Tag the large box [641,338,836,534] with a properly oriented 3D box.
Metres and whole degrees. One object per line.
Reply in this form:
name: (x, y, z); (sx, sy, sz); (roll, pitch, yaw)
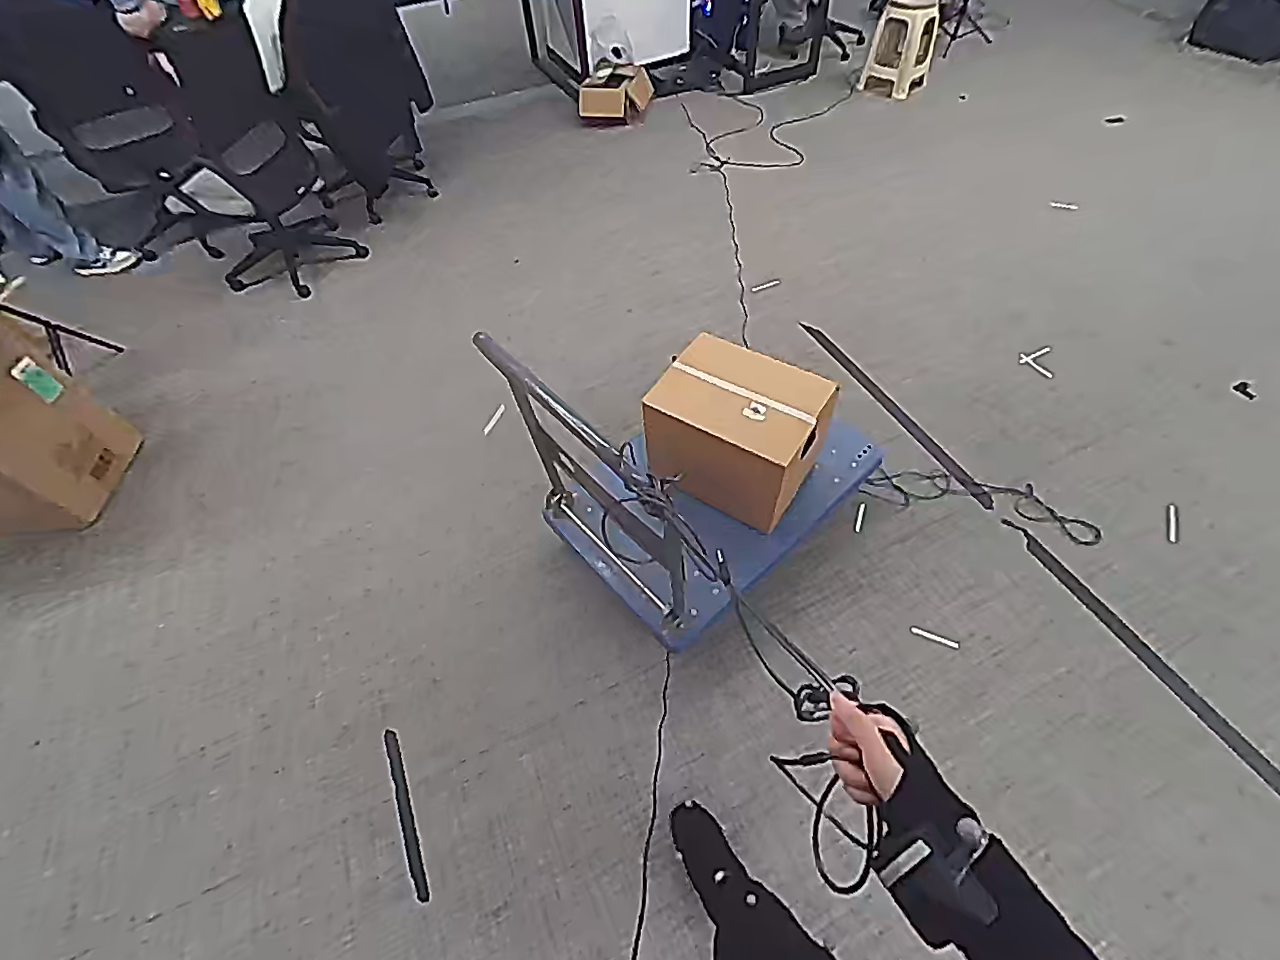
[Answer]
large box: (0.253, -0.122, 1.482); (0.408, 0.320, 0.320); (27, 61, 21)
